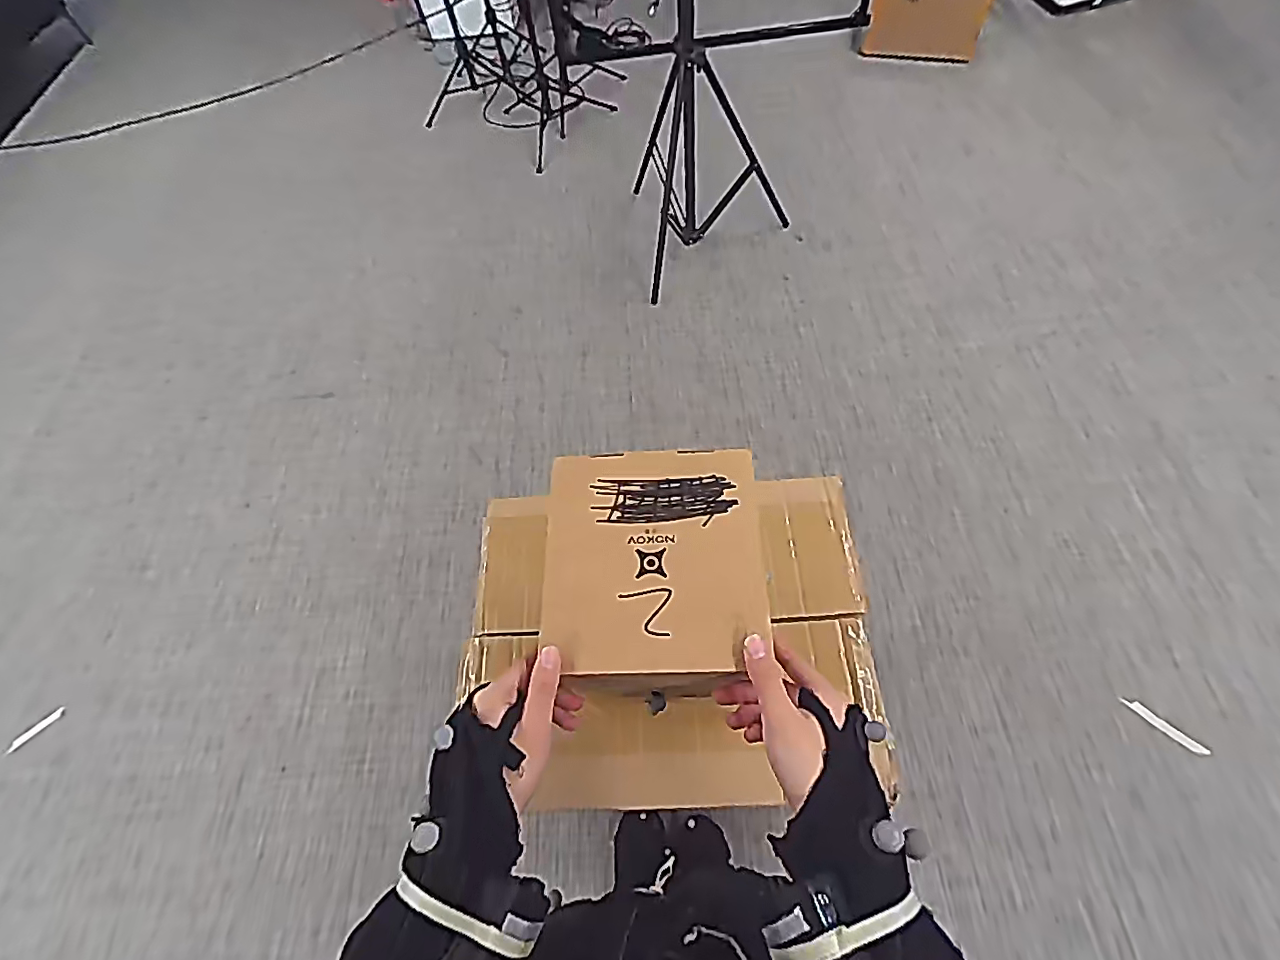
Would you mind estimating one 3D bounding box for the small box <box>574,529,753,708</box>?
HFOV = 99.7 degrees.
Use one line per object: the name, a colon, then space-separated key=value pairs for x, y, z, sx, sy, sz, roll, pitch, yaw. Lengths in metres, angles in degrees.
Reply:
small box: x=0.030 y=0.167 z=0.624 sx=0.179 sy=0.176 sz=0.168 roll=-3 pitch=62 yaw=4
